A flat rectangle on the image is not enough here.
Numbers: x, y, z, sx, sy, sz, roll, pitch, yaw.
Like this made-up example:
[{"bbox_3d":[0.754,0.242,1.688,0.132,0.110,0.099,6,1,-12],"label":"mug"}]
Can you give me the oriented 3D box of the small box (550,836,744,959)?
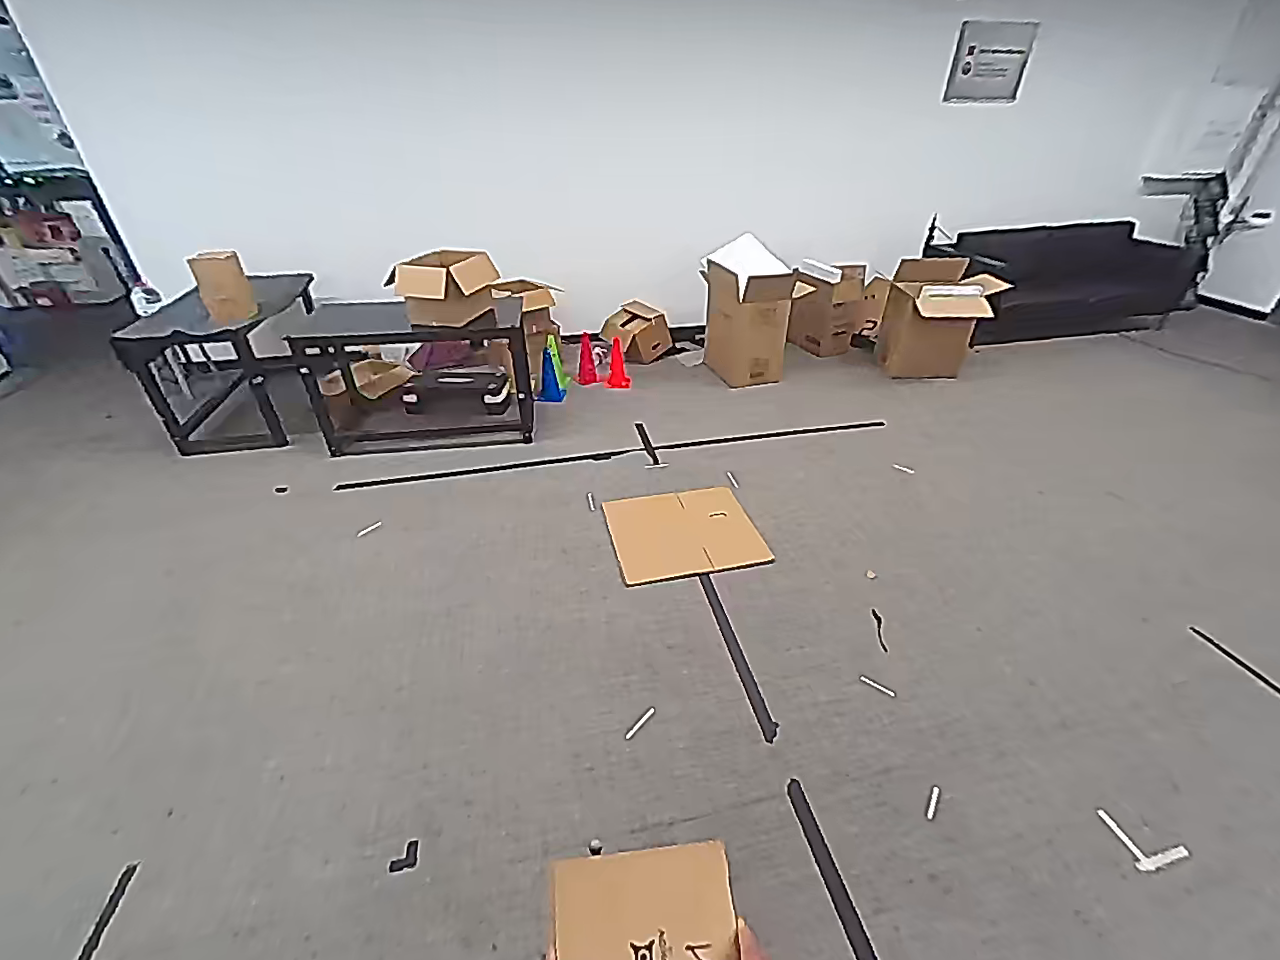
[{"bbox_3d":[-0.003,0.479,0.554,0.179,0.176,0.168,1,52,-12],"label":"small box"}]
